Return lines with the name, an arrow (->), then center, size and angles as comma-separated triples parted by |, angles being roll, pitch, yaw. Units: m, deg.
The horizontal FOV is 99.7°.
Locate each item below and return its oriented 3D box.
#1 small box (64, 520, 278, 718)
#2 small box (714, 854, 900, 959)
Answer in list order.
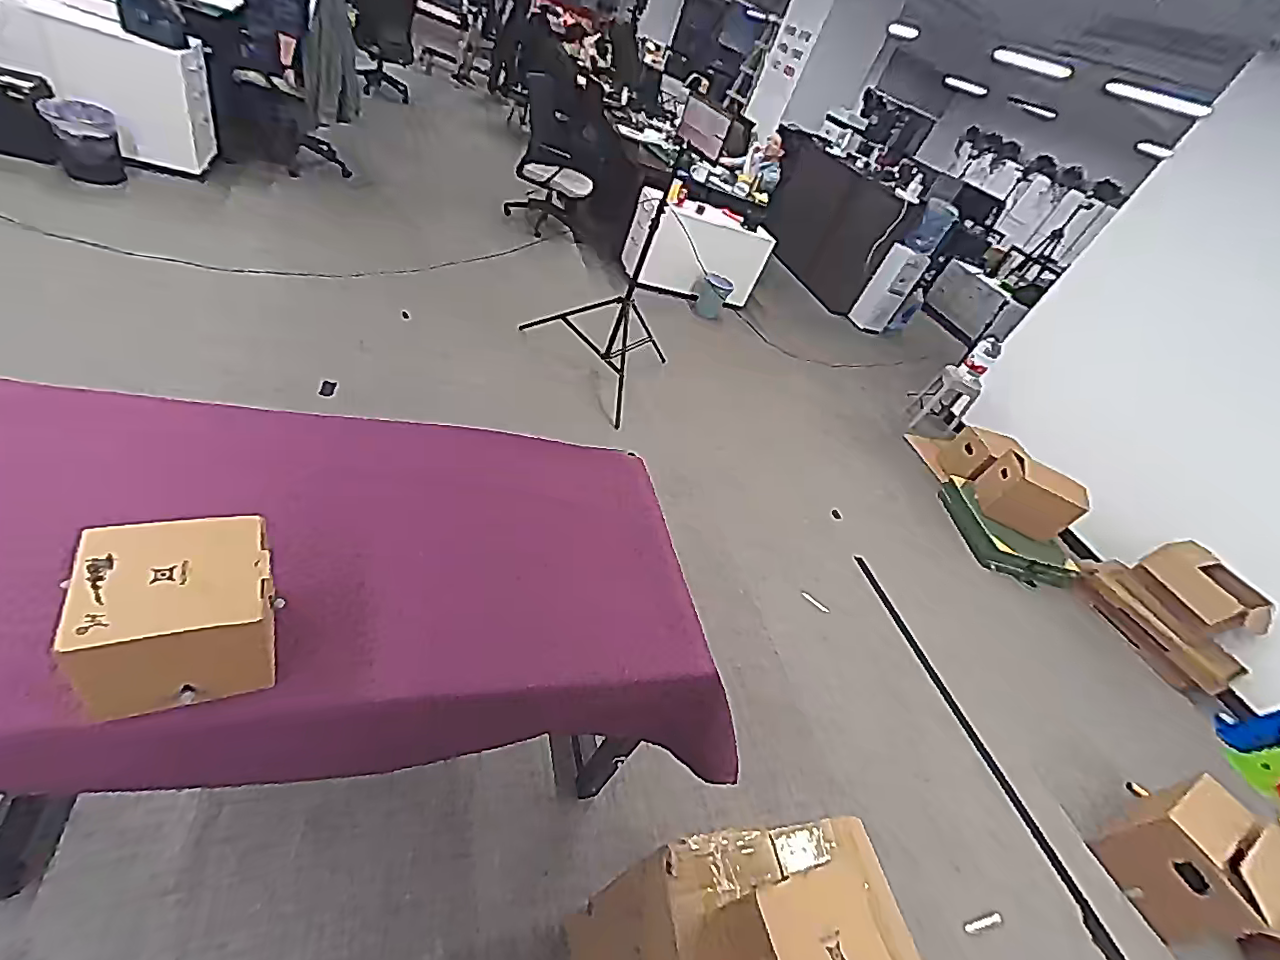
small box -> -0.566, 0.170, 0.683 | 0.179, 0.176, 0.168 | -3, 45, -32
small box -> 0.224, 0.648, 0.732 | 0.168, 0.176, 0.179 | 0, 46, -25
